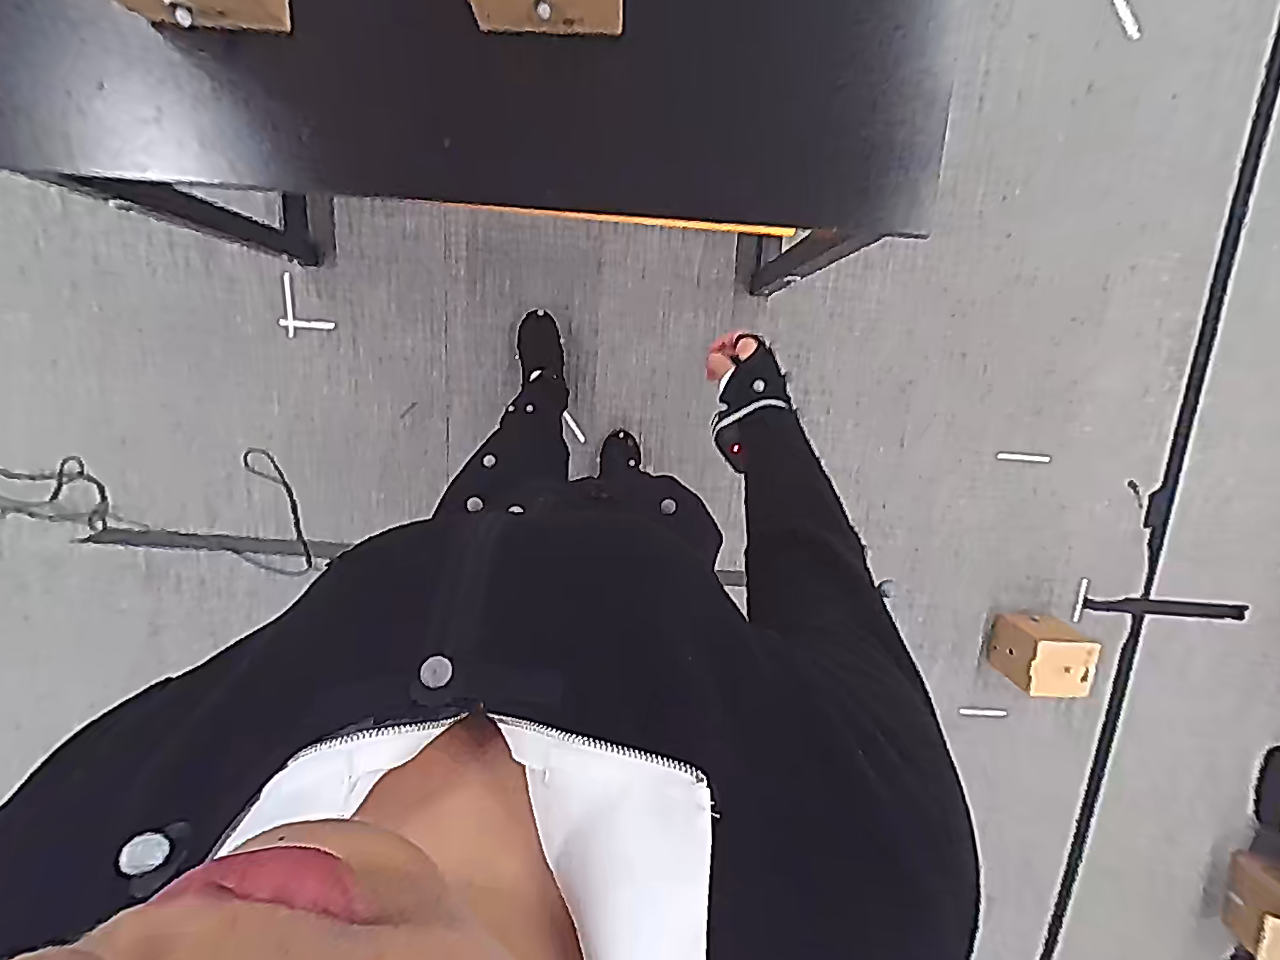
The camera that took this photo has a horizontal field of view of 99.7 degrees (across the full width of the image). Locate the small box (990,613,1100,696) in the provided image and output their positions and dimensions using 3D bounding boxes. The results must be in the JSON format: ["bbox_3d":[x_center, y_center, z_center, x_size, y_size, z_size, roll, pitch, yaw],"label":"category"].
[{"bbox_3d":[1.147,0.492,1.547,0.179,0.176,0.168,4,101,-2],"label":"small box"}]

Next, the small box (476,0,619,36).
[{"bbox_3d":[-0.102,-0.594,0.537,0.168,0.176,0.179,0,101,-2],"label":"small box"}]

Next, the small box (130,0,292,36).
[{"bbox_3d":[-0.475,-0.586,0.526,0.168,0.176,0.179,1,102,-1],"label":"small box"}]
